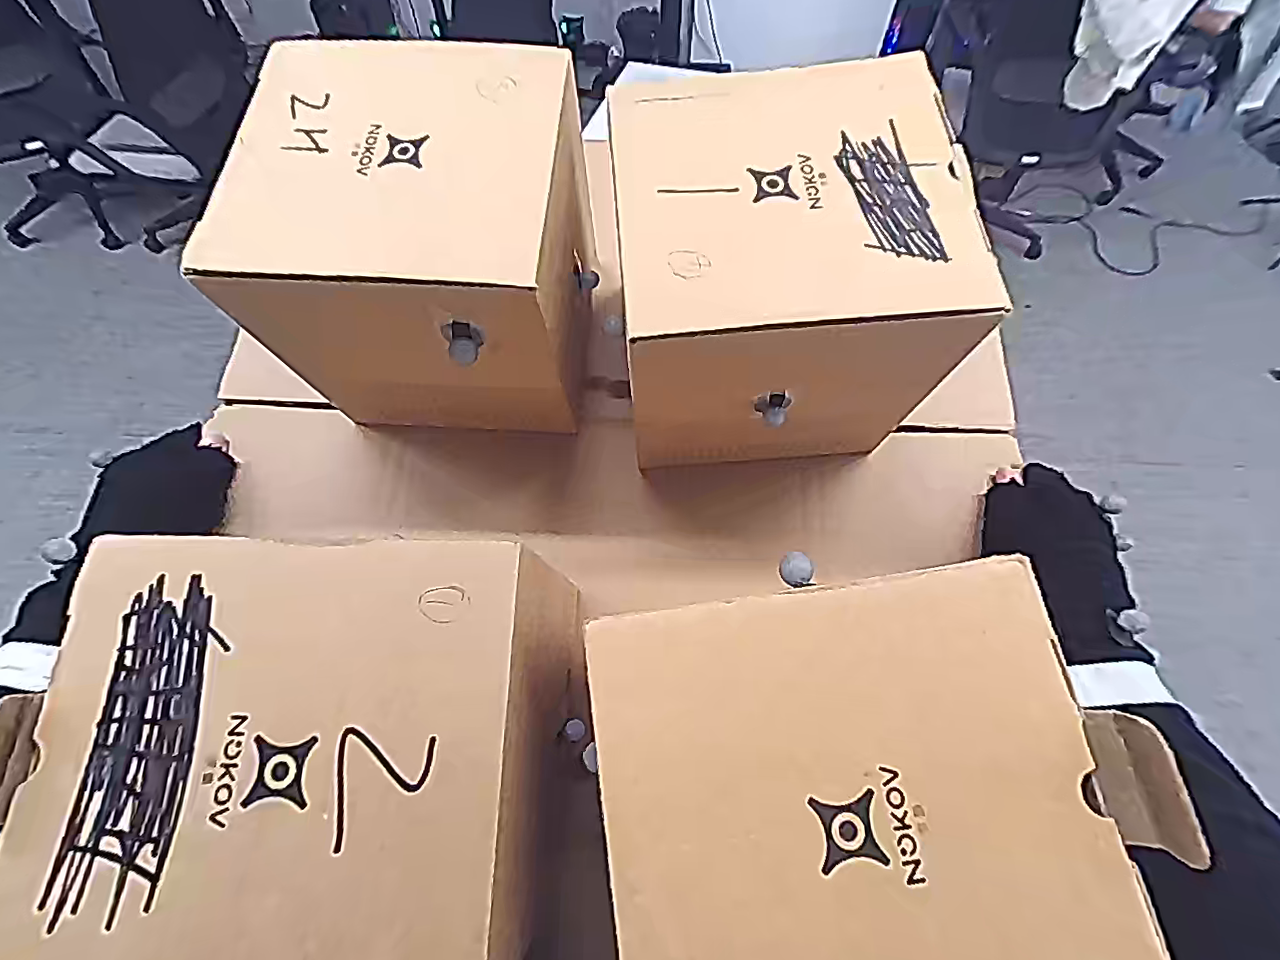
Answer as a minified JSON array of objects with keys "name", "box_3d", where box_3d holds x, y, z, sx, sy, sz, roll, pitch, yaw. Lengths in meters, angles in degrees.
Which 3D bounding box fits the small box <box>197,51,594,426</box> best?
[{"name":"small box","box_3d":[-0.130,-0.146,0.371,0.179,0.176,0.168,4,70,3]}]
